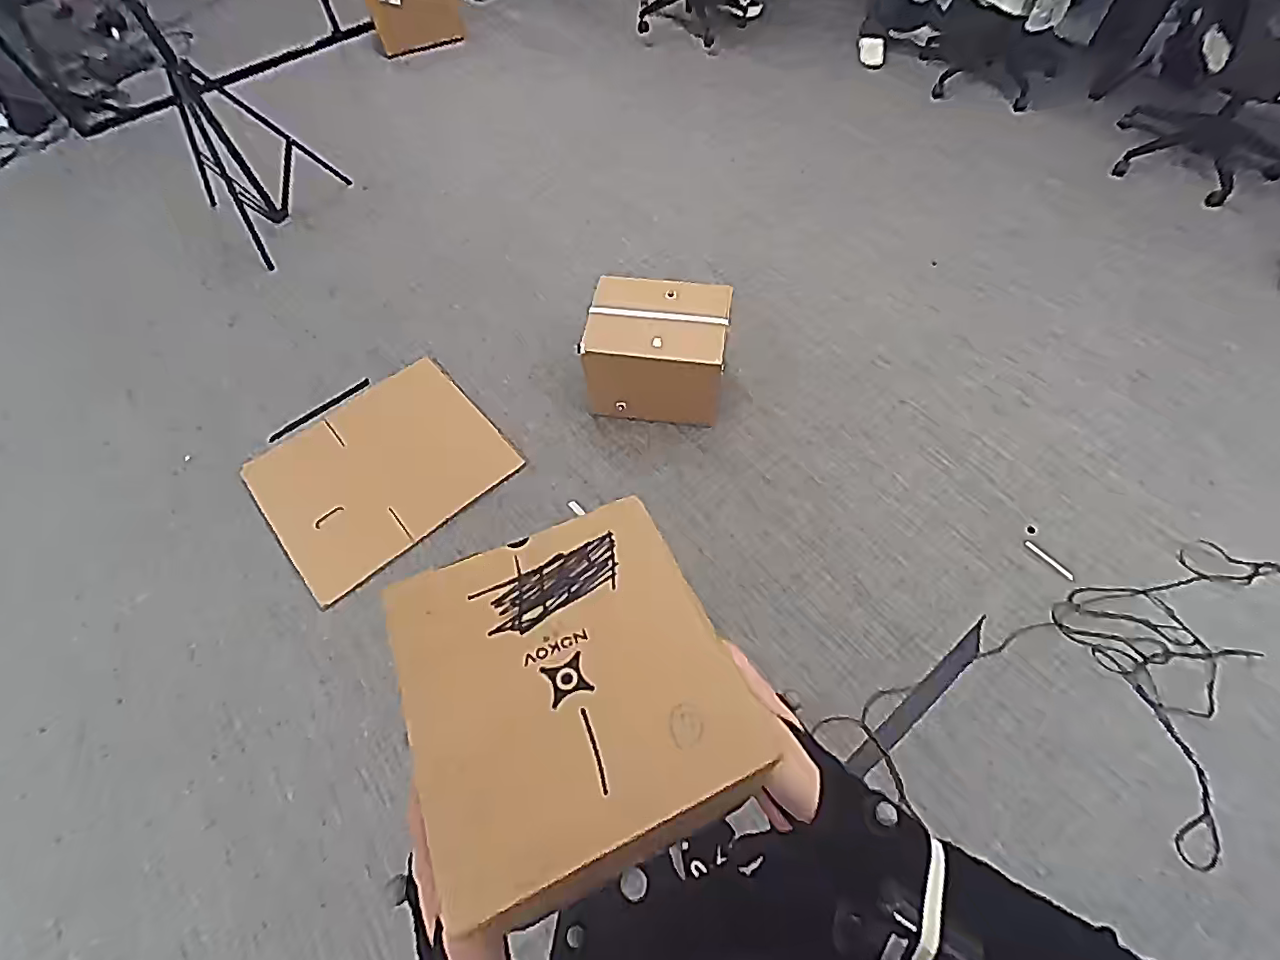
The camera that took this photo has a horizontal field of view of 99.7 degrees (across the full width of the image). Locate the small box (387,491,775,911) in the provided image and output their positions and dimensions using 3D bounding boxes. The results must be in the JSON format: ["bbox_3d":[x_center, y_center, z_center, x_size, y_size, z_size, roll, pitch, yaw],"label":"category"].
[{"bbox_3d":[-0.041,0.143,0.352,0.168,0.176,0.179,-20,55,-14],"label":"small box"}]
